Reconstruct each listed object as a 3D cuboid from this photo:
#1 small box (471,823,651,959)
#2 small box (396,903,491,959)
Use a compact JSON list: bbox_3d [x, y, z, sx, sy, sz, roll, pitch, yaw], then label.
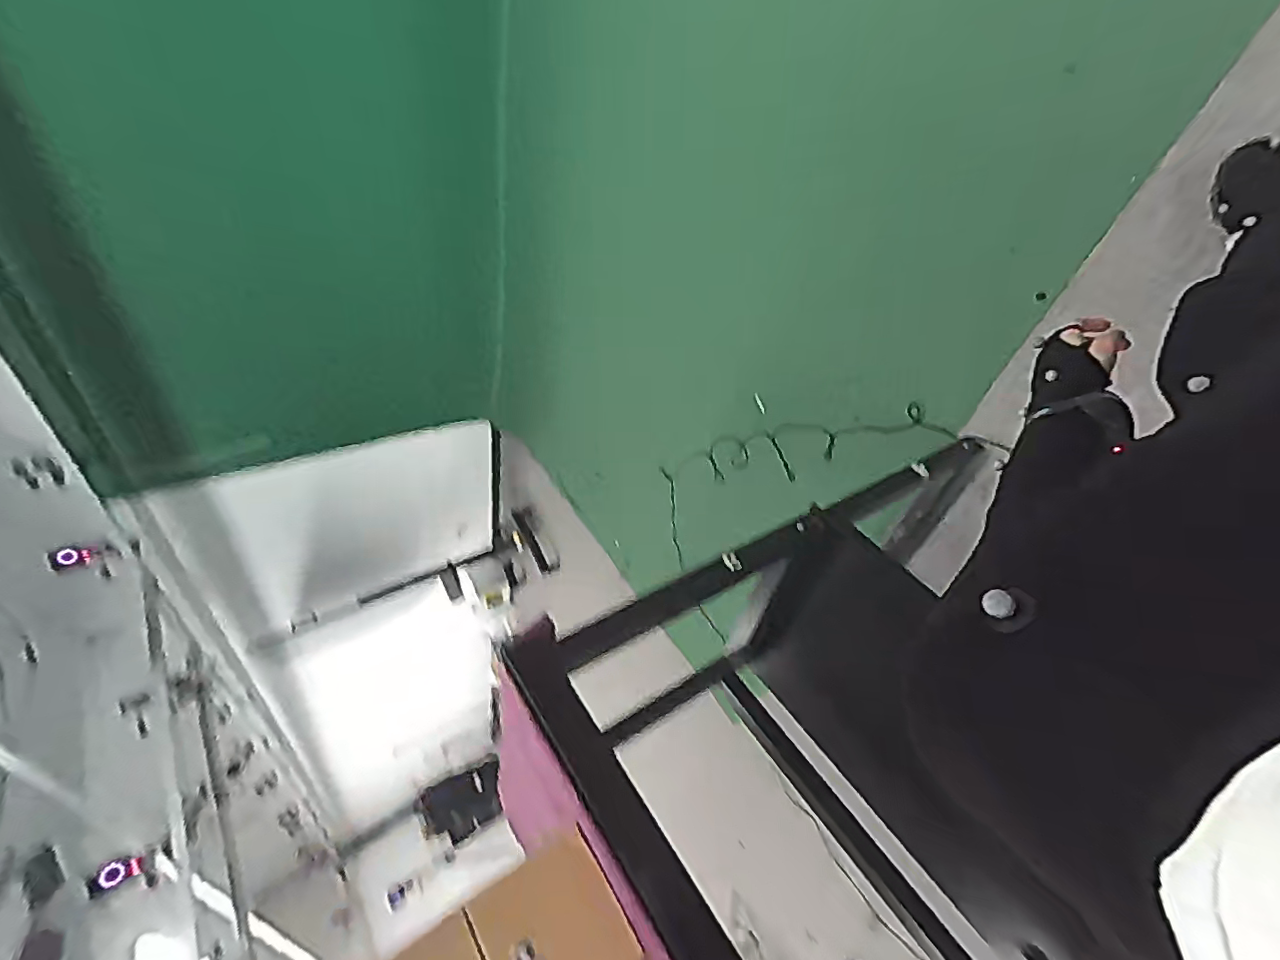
[{"bbox_3d":[-0.108,0.607,0.720,0.179,0.176,0.168,49,143,30],"label":"small box"},{"bbox_3d":[-0.239,0.655,0.634,0.179,0.176,0.168,47,140,30],"label":"small box"}]
